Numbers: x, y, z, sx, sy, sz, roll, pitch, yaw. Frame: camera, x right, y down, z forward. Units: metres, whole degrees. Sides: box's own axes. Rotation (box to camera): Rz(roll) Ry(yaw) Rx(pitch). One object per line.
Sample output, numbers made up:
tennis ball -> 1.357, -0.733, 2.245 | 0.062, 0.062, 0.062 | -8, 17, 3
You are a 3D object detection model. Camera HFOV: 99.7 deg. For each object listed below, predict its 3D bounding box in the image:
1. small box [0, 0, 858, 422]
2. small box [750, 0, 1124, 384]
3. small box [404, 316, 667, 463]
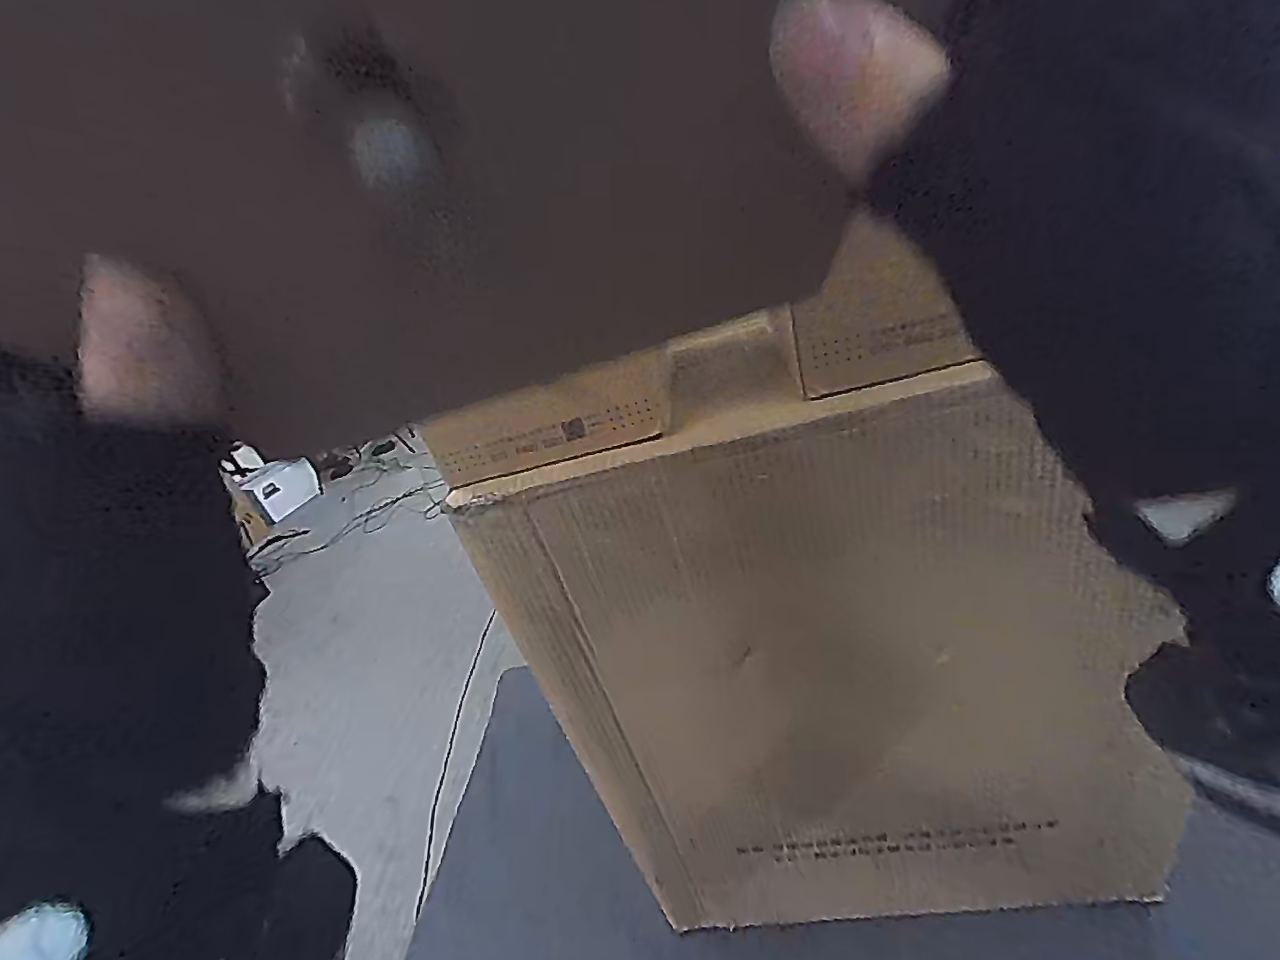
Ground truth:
small box -> -0.061, -0.134, 0.114 | 0.179, 0.168, 0.176 | -17, -17, 0
small box -> 0.162, -0.174, 0.358 | 0.168, 0.176, 0.179 | -11, 29, 10
small box -> -0.079, -0.126, 0.406 | 0.168, 0.176, 0.179 | -13, 30, 11
